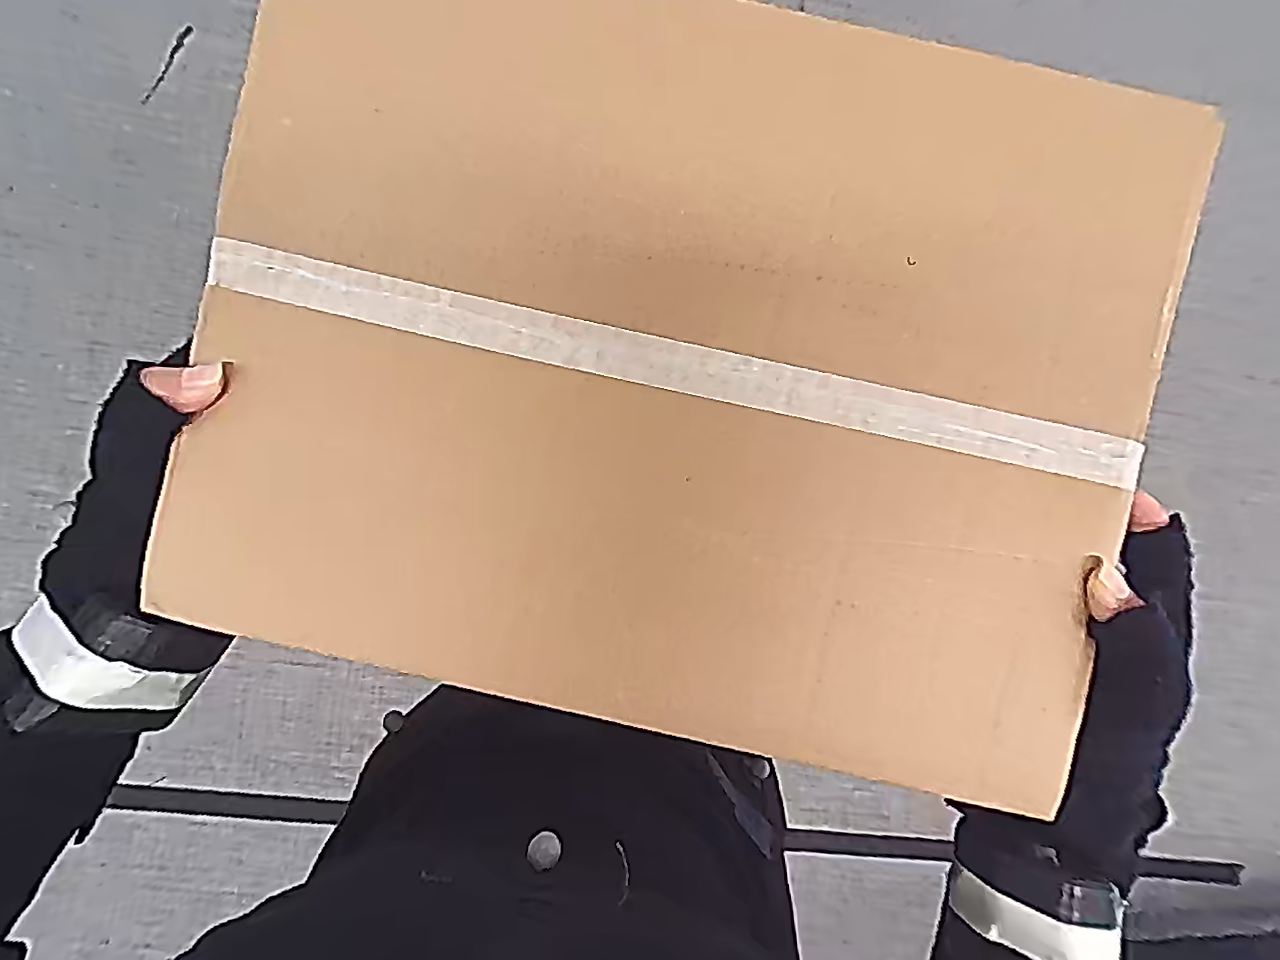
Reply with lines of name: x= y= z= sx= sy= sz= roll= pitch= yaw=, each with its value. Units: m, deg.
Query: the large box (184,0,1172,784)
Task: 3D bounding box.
large box: x=0.015 y=-0.050 z=0.393 sx=0.408 sy=0.320 sz=0.320 roll=13 pitch=91 yaw=0
